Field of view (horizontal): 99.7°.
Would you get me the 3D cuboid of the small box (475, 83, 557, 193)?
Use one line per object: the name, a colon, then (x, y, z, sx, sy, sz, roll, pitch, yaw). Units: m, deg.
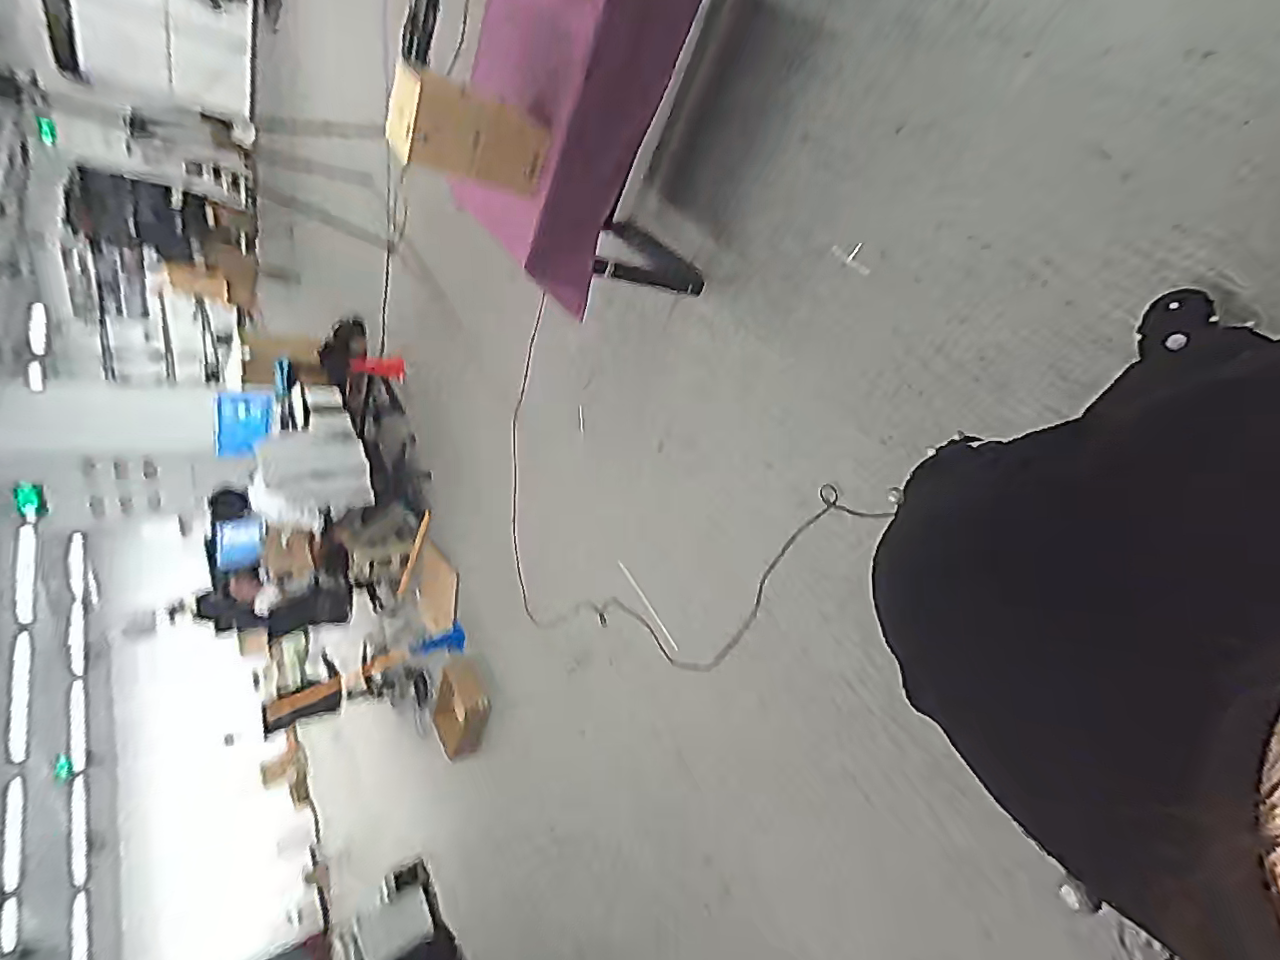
small box: (-0.344, -0.880, 1.404, 0.179, 0.176, 0.168, 56, 132, 28)

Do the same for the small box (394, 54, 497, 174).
small box: (-0.468, -0.867, 1.296, 0.179, 0.176, 0.168, 57, 133, 29)
